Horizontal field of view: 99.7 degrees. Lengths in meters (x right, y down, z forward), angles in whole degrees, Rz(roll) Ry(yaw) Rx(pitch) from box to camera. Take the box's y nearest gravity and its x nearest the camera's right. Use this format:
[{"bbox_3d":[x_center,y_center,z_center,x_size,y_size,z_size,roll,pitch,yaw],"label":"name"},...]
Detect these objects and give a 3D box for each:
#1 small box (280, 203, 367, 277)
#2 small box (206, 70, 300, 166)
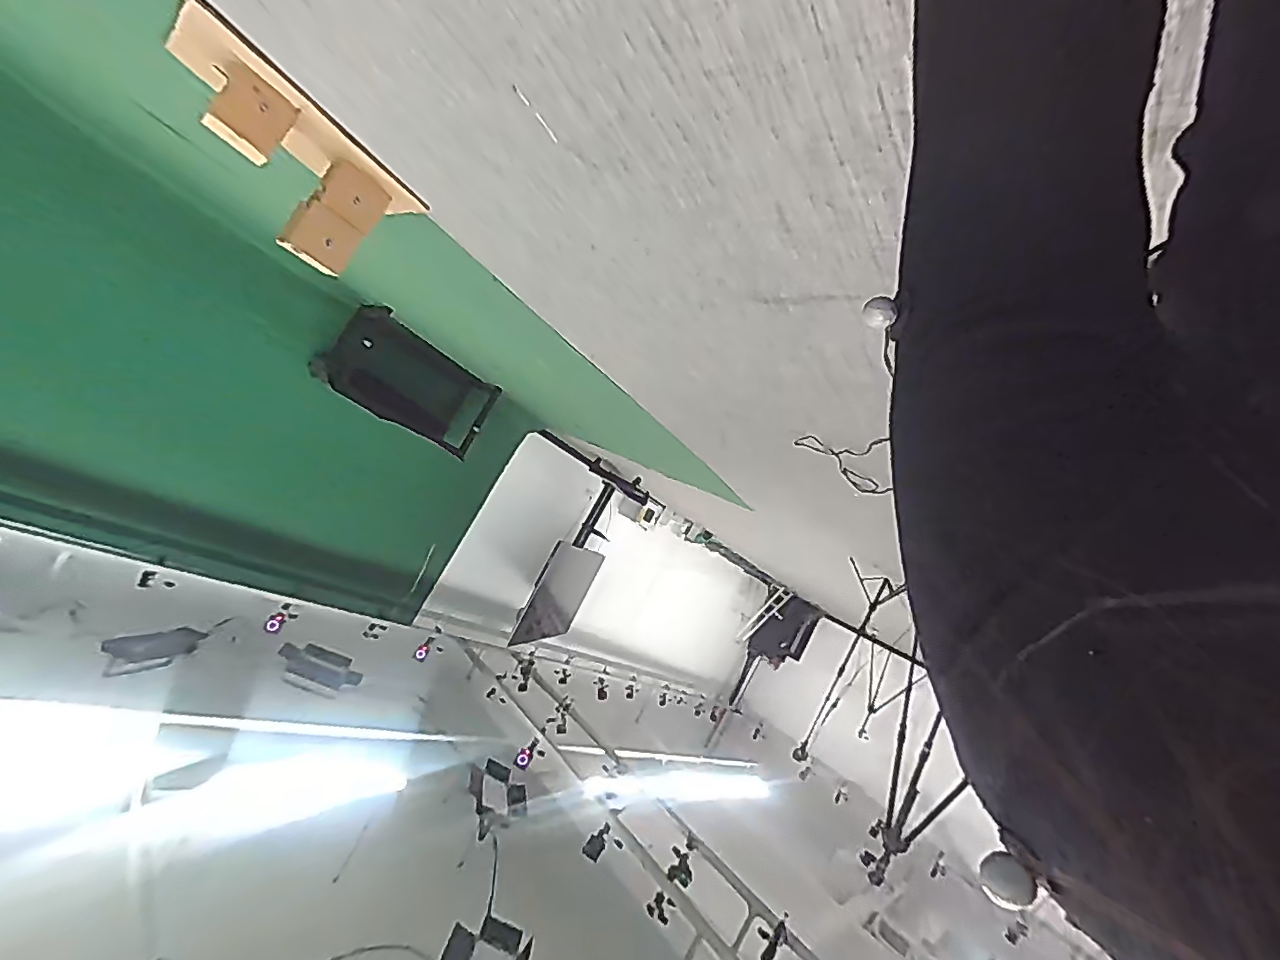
[{"bbox_3d":[-1.086,-0.827,1.857,0.168,0.176,0.179,24,174,39],"label":"small box"},{"bbox_3d":[-1.173,-1.094,1.642,0.179,0.176,0.168,23,171,43],"label":"small box"}]
